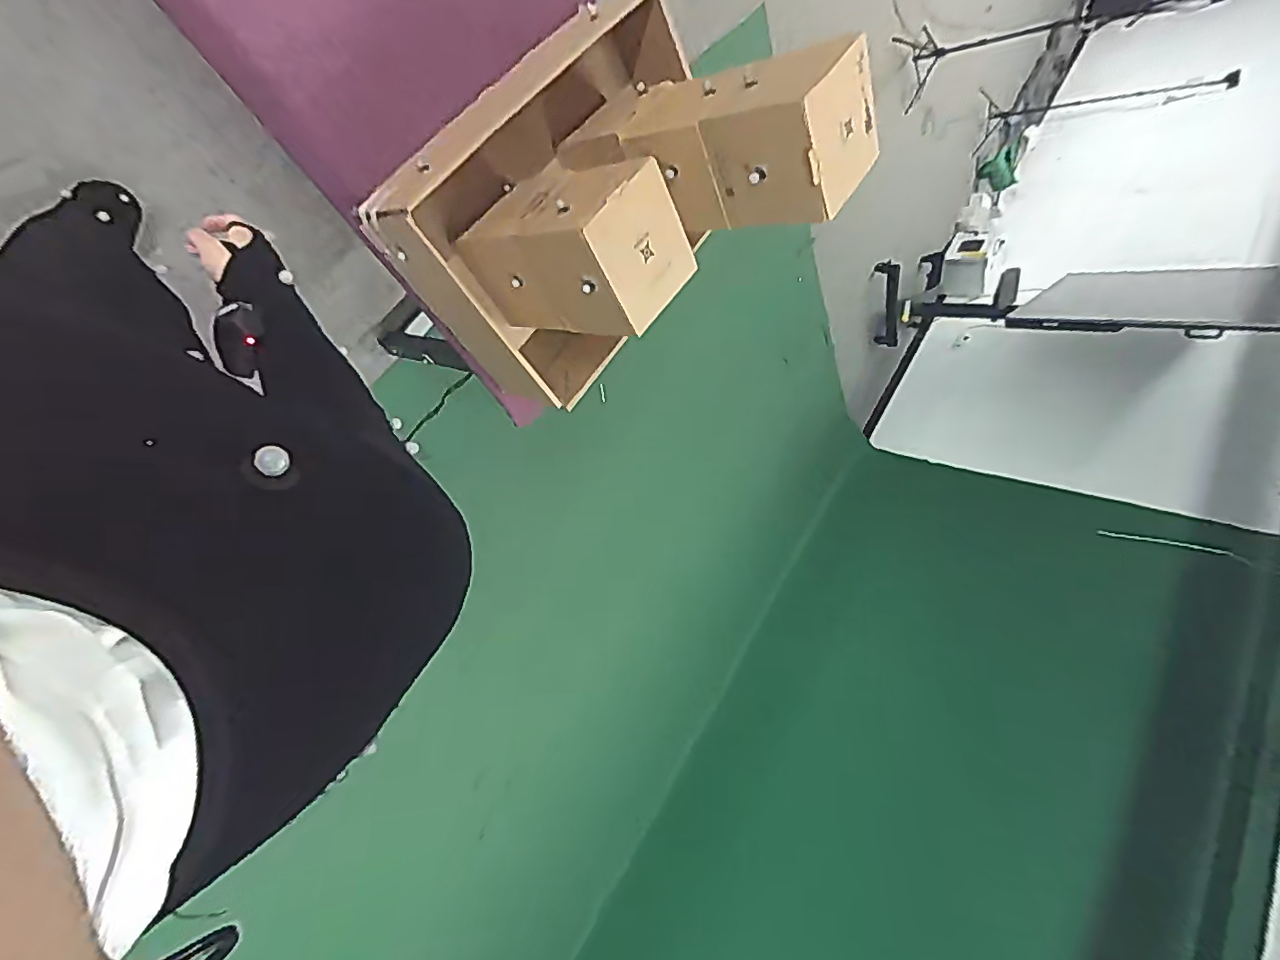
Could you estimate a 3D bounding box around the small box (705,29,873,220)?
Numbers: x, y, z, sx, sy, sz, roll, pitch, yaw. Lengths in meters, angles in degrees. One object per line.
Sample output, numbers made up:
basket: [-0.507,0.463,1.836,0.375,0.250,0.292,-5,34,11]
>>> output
small box: [0.213,-0.503,0.790,0.179,0.176,0.168,-53,137,-18]

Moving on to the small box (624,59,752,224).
small box: [0.095,-0.545,0.896,0.179,0.176,0.168,-53,137,-19]

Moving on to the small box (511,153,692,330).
small box: [-0.057,-0.344,0.803,0.168,0.176,0.179,-53,136,-20]
